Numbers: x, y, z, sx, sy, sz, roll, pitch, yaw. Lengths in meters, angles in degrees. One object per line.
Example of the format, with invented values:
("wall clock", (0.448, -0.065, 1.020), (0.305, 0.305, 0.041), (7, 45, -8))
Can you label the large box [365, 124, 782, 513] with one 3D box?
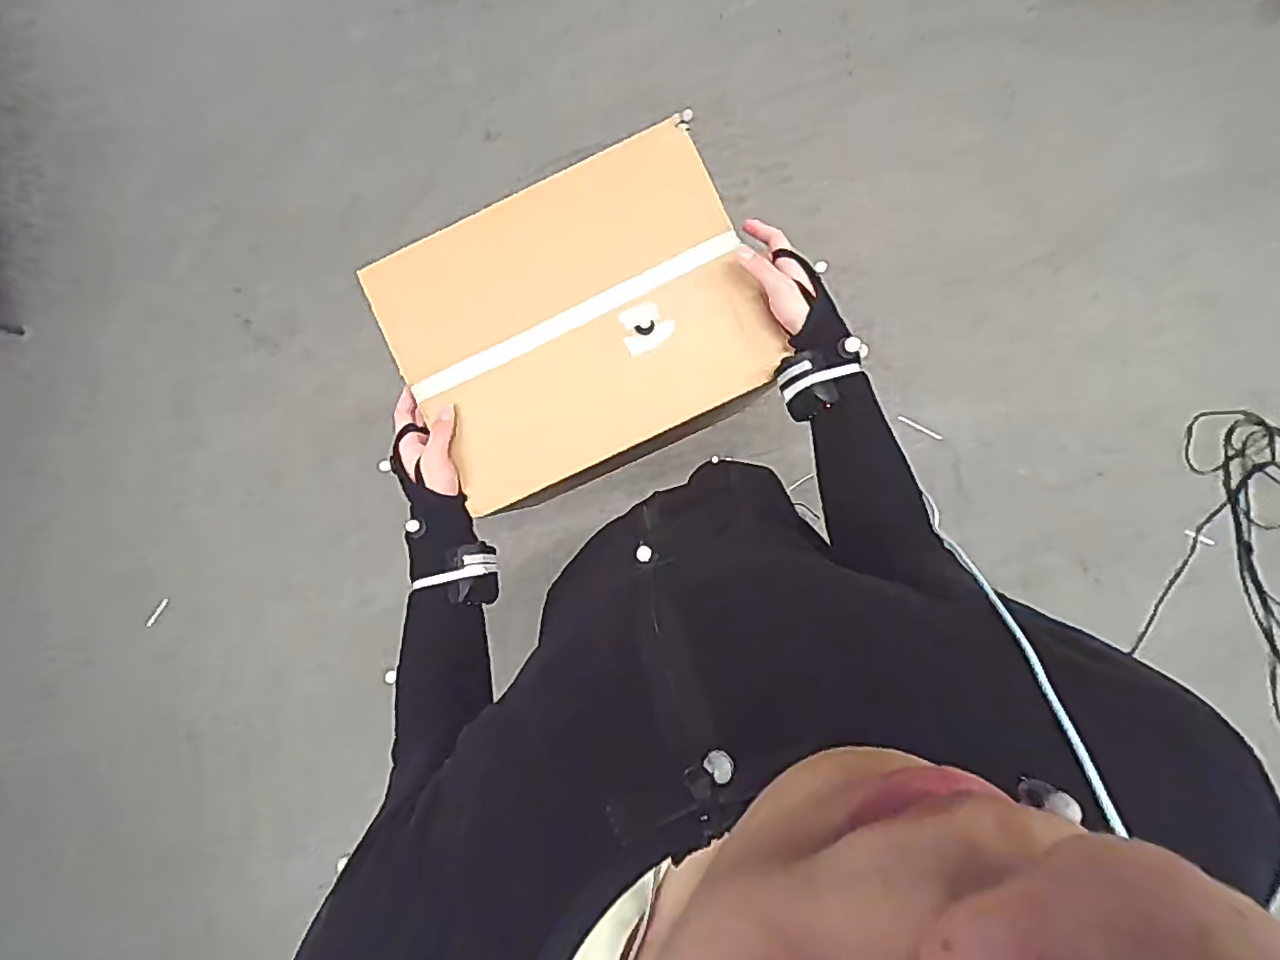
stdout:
("large box", (-0.076, -0.181, 0.767), (0.408, 0.320, 0.320), (-26, 90, 1))
